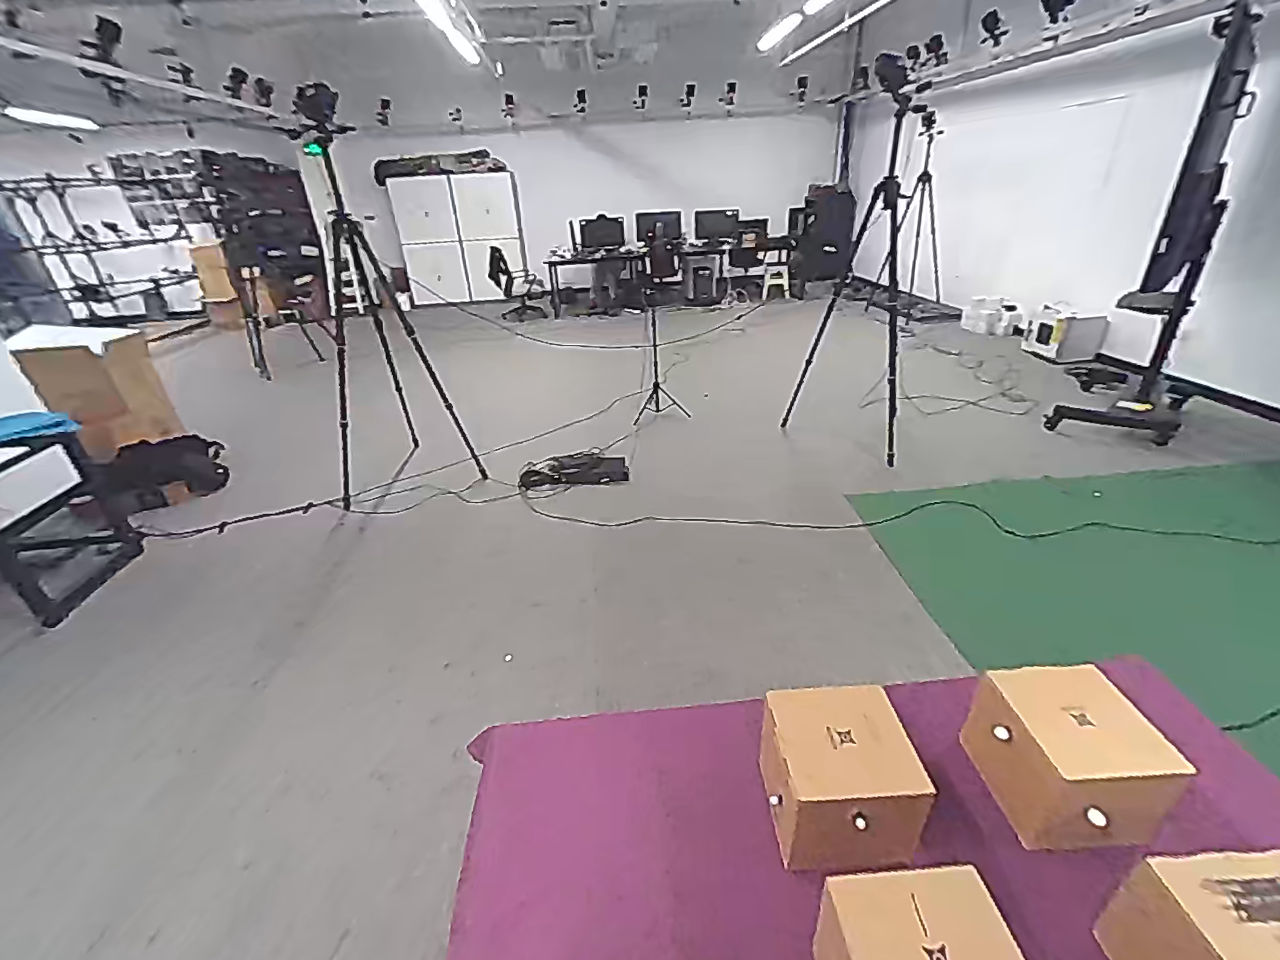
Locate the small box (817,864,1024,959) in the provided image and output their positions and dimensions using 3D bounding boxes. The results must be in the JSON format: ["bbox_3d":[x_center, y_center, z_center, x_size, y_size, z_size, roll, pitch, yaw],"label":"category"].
[{"bbox_3d":[0.290,0.535,0.548,0.168,0.176,0.179,-4,27,0],"label":"small box"}]

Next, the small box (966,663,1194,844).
[{"bbox_3d":[0.605,0.391,0.774,0.168,0.176,0.179,-4,28,1],"label":"small box"}]

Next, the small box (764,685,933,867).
[{"bbox_3d":[0.279,0.419,0.769,0.179,0.176,0.168,-3,29,1],"label":"small box"}]
